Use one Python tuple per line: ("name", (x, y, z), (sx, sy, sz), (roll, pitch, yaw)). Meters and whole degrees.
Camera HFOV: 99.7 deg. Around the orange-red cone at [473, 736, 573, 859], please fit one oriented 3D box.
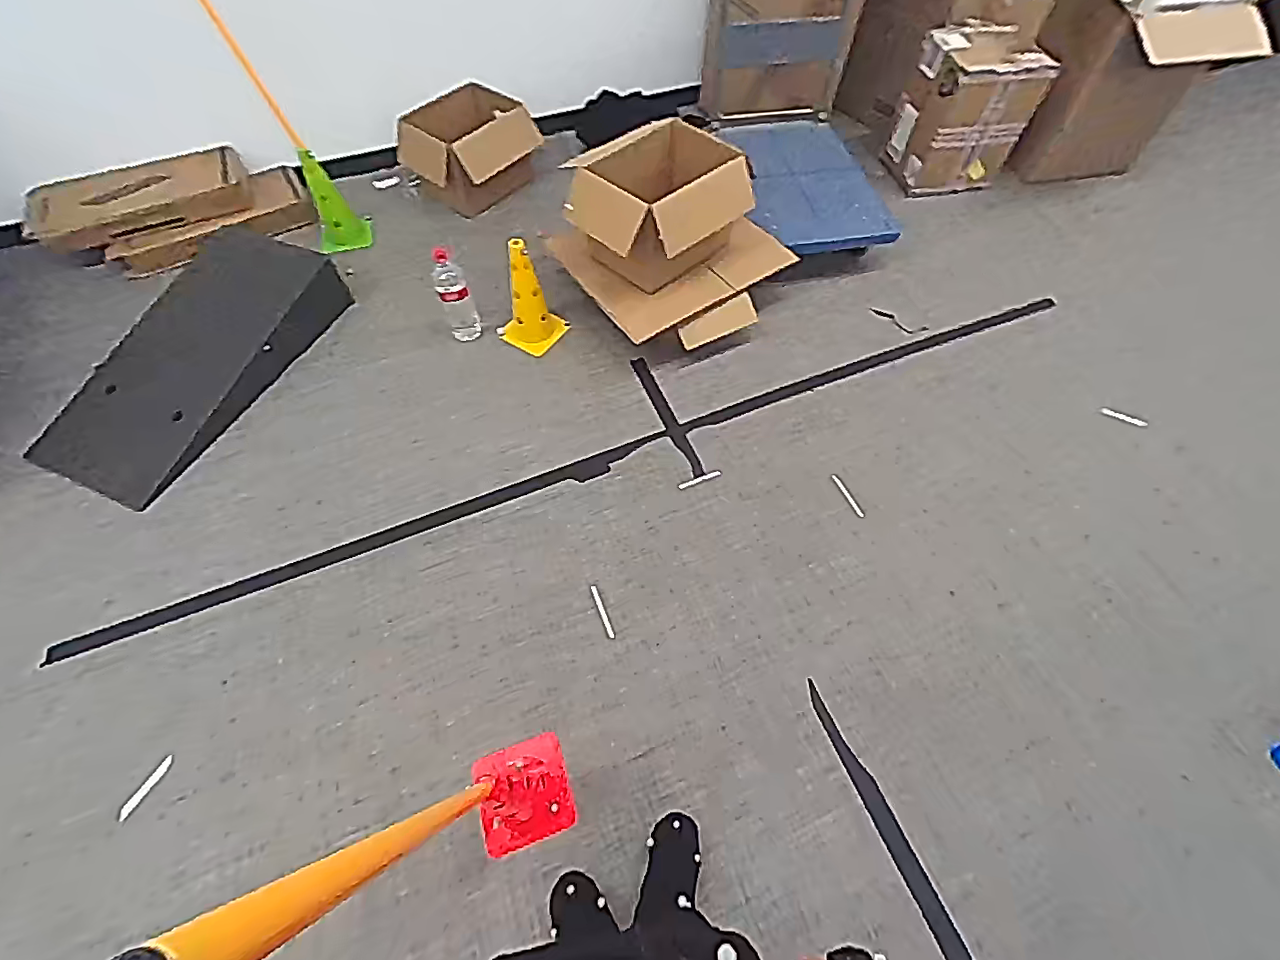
("orange-red cone", (-0.259, 0.602, 1.044), (0.198, 0.360, 0.199), (-16, 59, -10))
